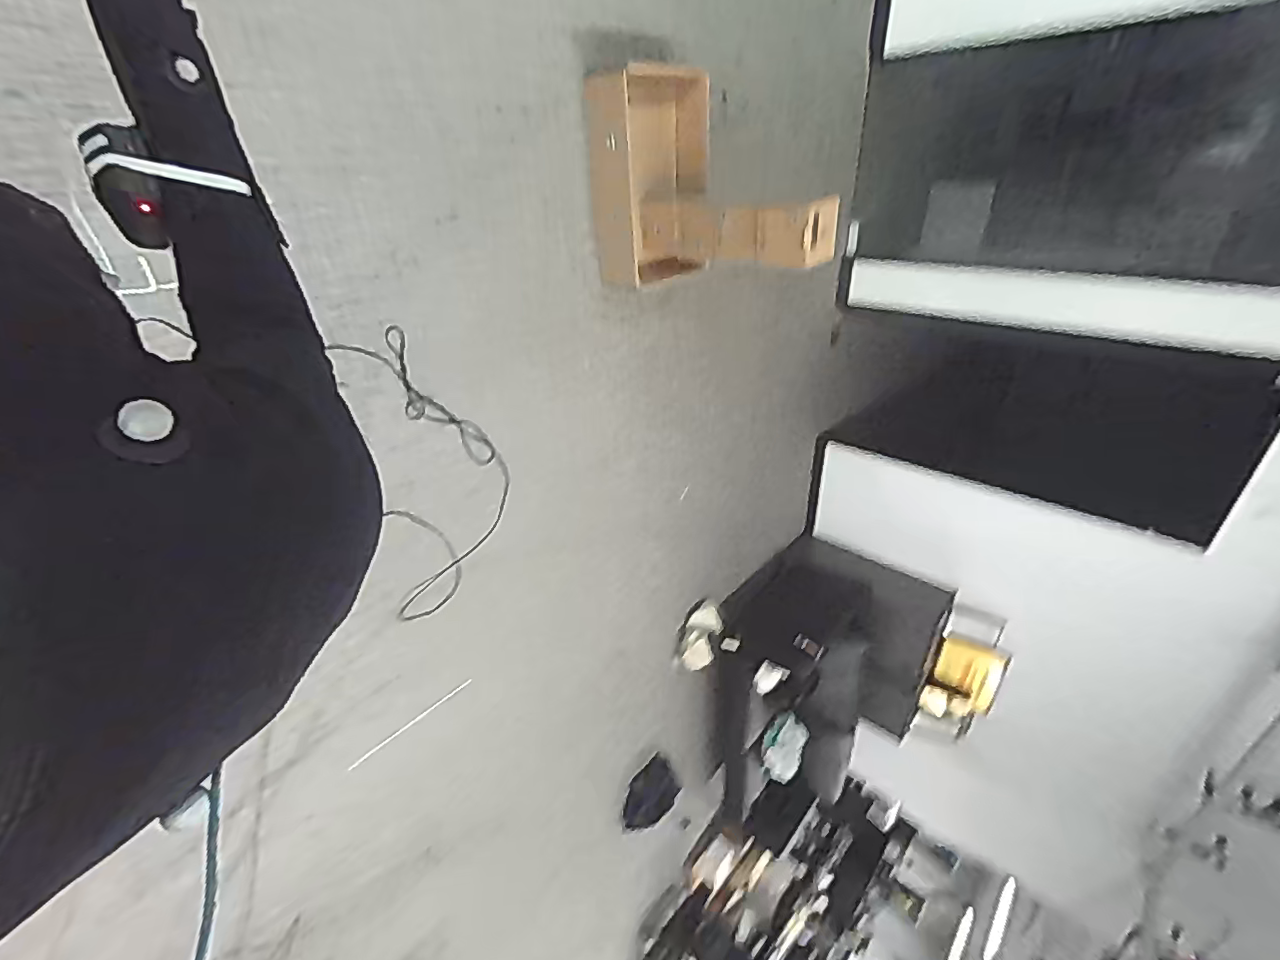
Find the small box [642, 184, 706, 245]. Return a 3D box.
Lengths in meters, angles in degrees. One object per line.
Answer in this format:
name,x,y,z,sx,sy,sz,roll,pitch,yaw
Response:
small box,0.121,-0.936,1.912,0.179,0.176,0.168,-36,132,-34

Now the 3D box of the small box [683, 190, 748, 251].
small box,0.256,-0.868,1.810,0.179,0.176,0.168,-32,130,-37
